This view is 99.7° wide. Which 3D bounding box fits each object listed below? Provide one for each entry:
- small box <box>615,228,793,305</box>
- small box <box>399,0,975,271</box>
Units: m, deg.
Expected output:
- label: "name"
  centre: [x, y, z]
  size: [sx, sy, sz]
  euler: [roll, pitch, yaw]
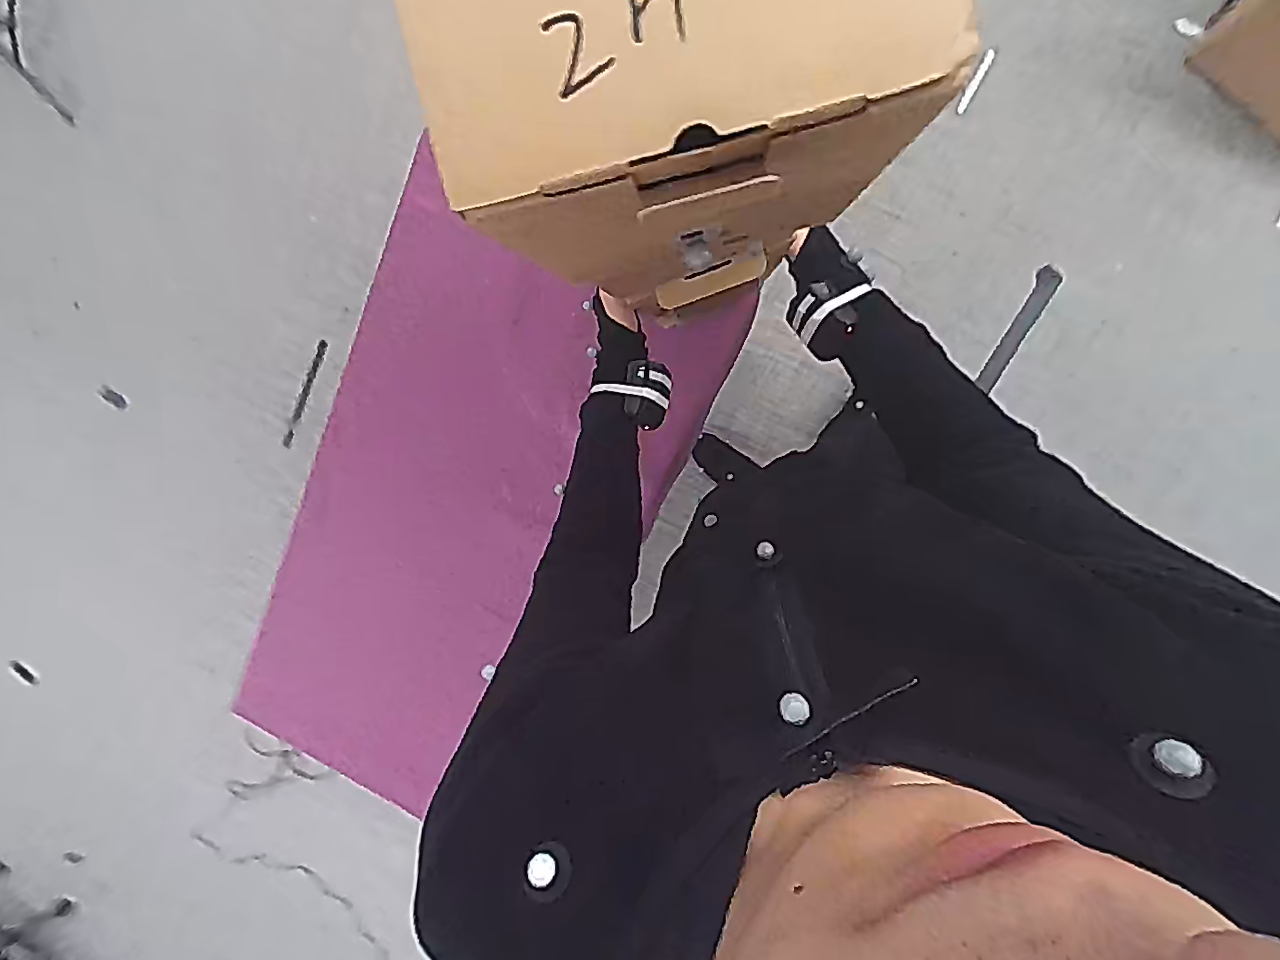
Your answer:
- label: "small box"
  centre: [0.042, -0.287, 0.543]
  size: [0.168, 0.176, 0.179]
  euler: [-17, 99, 10]
- label: "small box"
  centre: [0.009, -0.206, 0.227]
  size: [0.168, 0.176, 0.179]
  euler: [-10, 101, 9]
